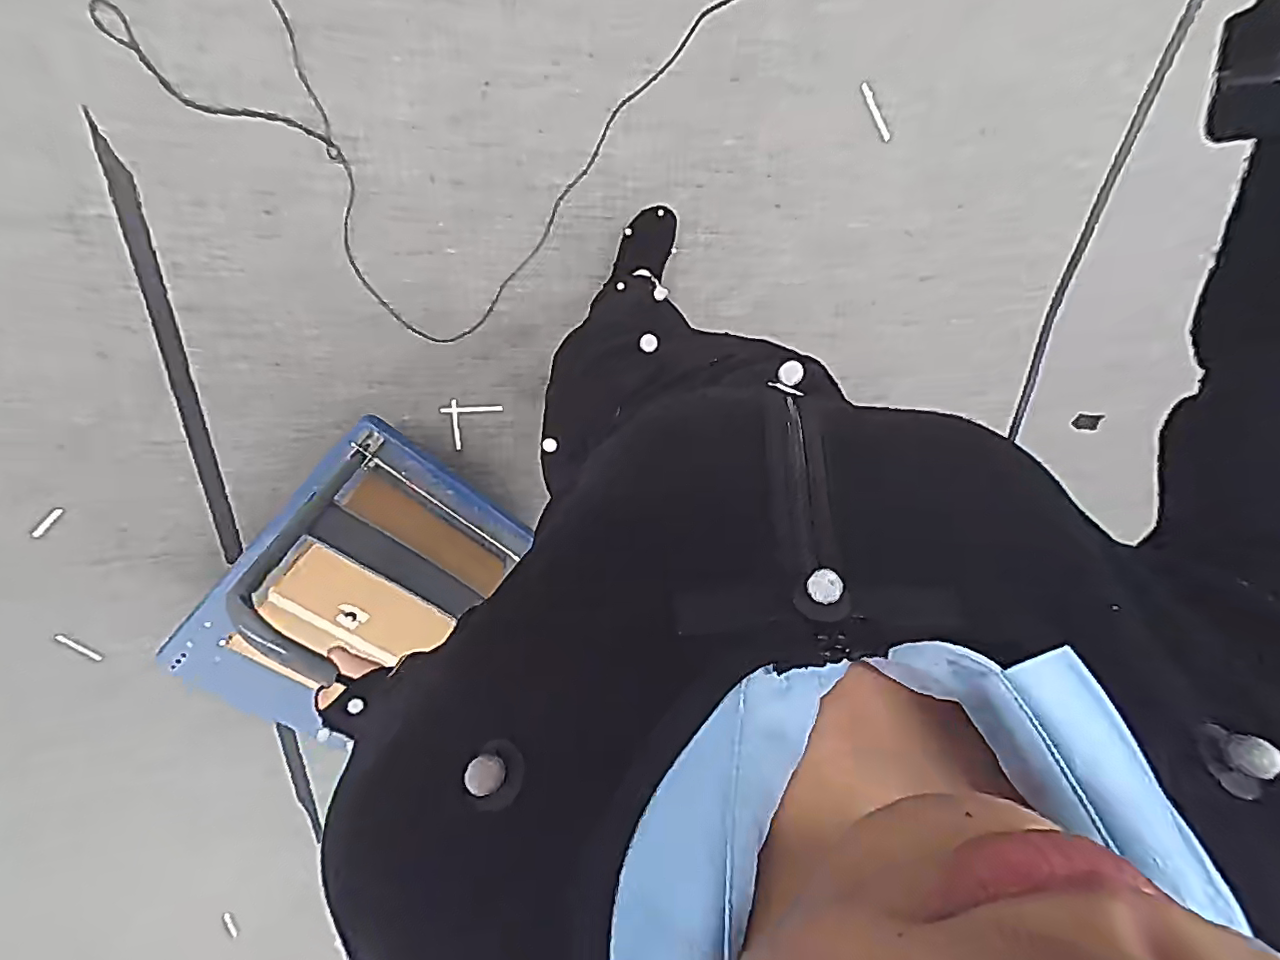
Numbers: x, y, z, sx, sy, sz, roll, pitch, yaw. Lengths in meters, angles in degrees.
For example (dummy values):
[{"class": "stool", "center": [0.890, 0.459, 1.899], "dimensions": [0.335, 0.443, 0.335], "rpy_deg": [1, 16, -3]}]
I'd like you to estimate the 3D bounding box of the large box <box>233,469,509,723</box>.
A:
[{"class": "large box", "center": [-0.553, 0.251, 1.207], "dimensions": [0.320, 0.320, 0.408], "rpy_deg": [-45, 113, 10]}]
